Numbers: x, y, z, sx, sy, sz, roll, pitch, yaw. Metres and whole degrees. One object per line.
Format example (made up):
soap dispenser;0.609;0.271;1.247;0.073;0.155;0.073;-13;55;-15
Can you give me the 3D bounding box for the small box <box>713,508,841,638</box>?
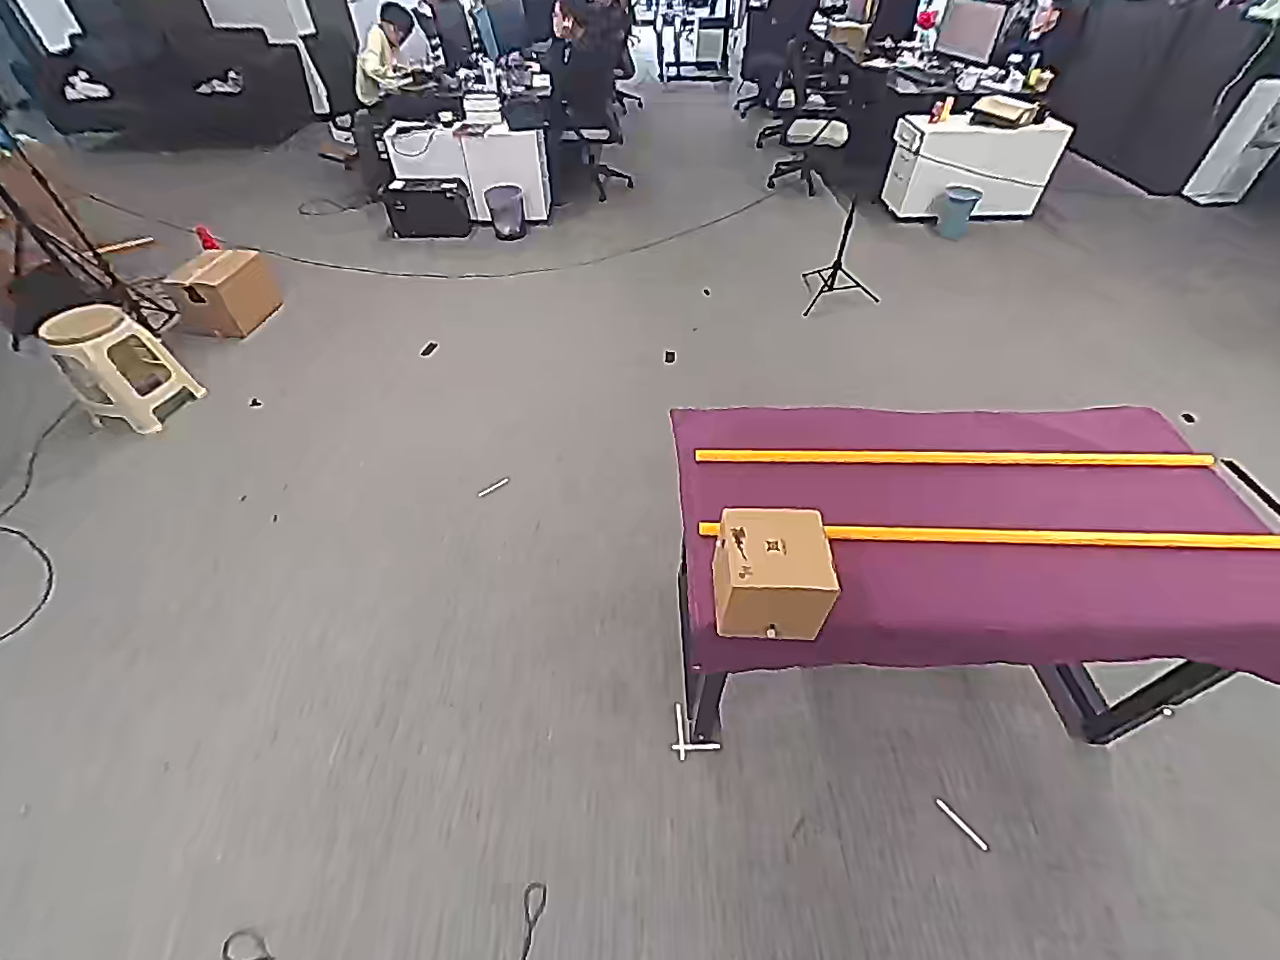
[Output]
small box;0.232;0.169;0.963;0.179;0.176;0.168;2;47;0
